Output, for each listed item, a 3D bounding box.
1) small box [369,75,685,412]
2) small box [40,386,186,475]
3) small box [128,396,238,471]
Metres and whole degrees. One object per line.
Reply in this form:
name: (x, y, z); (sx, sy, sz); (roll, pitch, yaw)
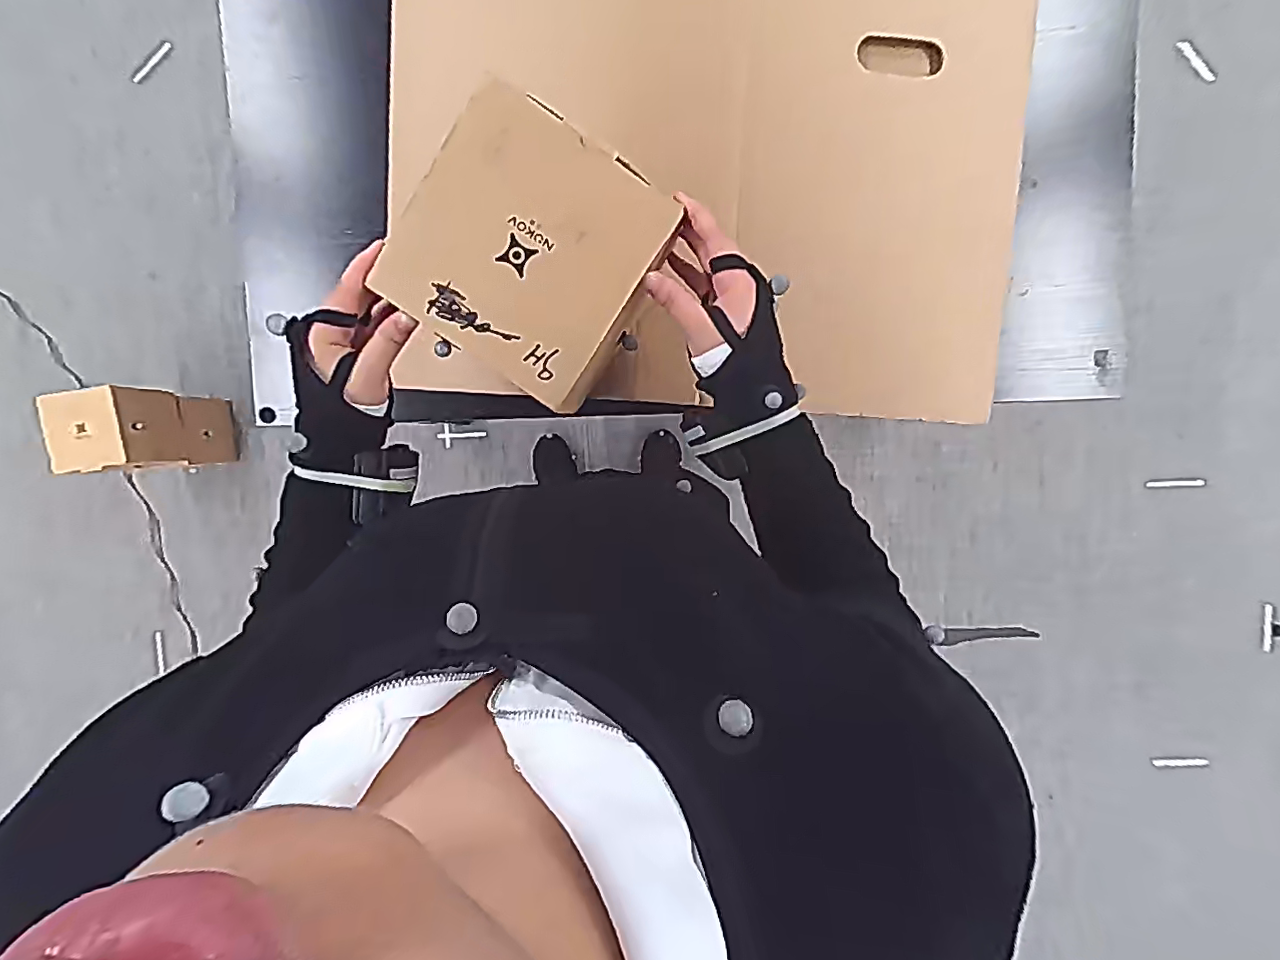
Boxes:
small box: (-0.084, -0.176, 0.466); (0.168, 0.176, 0.179); (34, 93, -3)
small box: (-1.204, -0.114, 1.252); (0.168, 0.176, 0.179); (-9, 93, 0)
small box: (-1.201, -0.119, 1.414); (0.168, 0.176, 0.179); (-6, 95, 1)
